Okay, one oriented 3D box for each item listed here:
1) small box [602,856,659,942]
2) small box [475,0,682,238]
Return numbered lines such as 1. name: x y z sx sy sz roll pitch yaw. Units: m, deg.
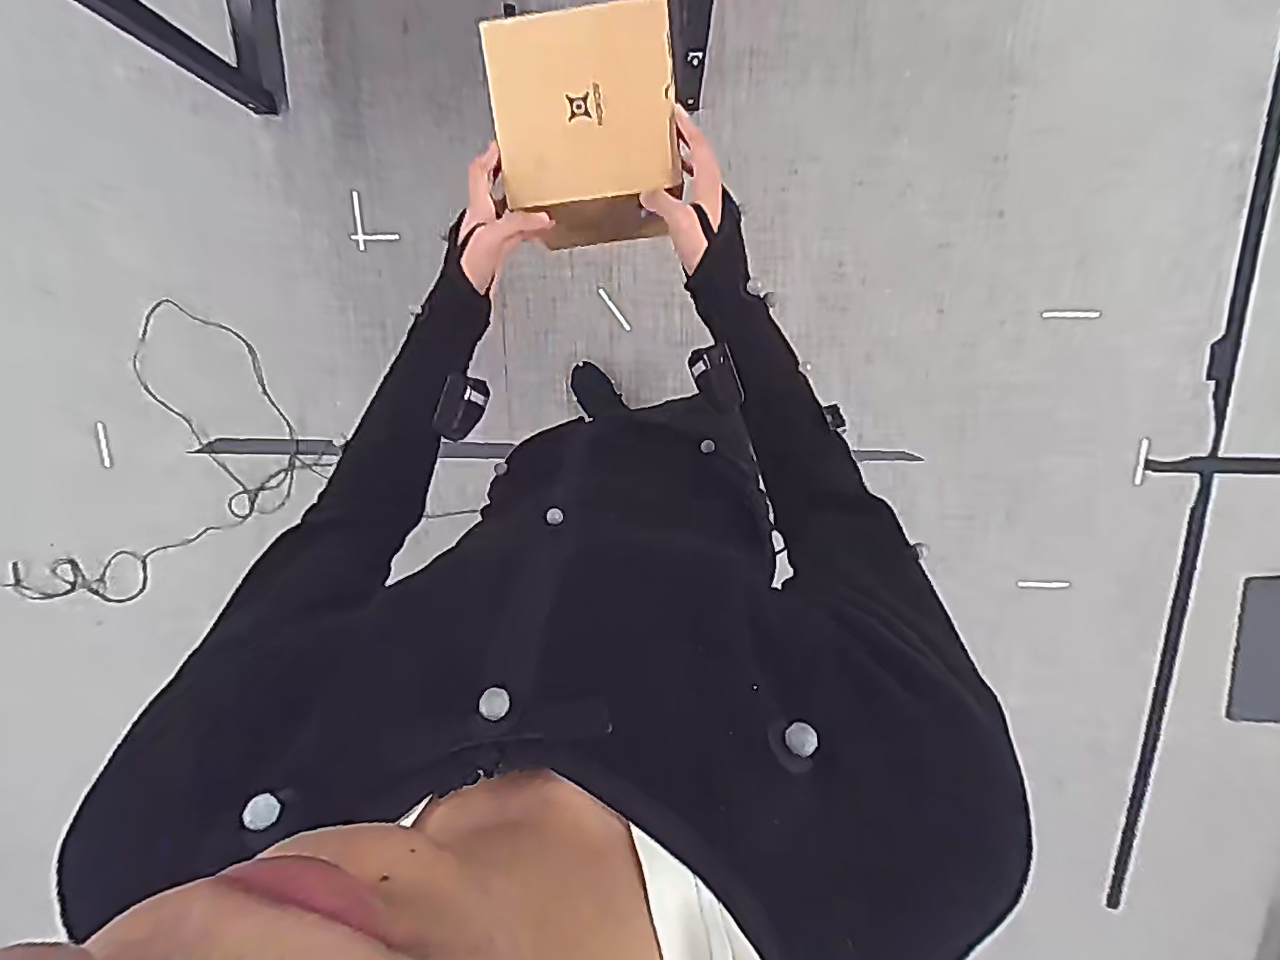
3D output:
1. small box: -0.027 1.450 1.870 0.168 0.176 0.179 -10 102 3
2. small box: -0.051 -0.369 0.570 0.179 0.176 0.168 -6 100 3
